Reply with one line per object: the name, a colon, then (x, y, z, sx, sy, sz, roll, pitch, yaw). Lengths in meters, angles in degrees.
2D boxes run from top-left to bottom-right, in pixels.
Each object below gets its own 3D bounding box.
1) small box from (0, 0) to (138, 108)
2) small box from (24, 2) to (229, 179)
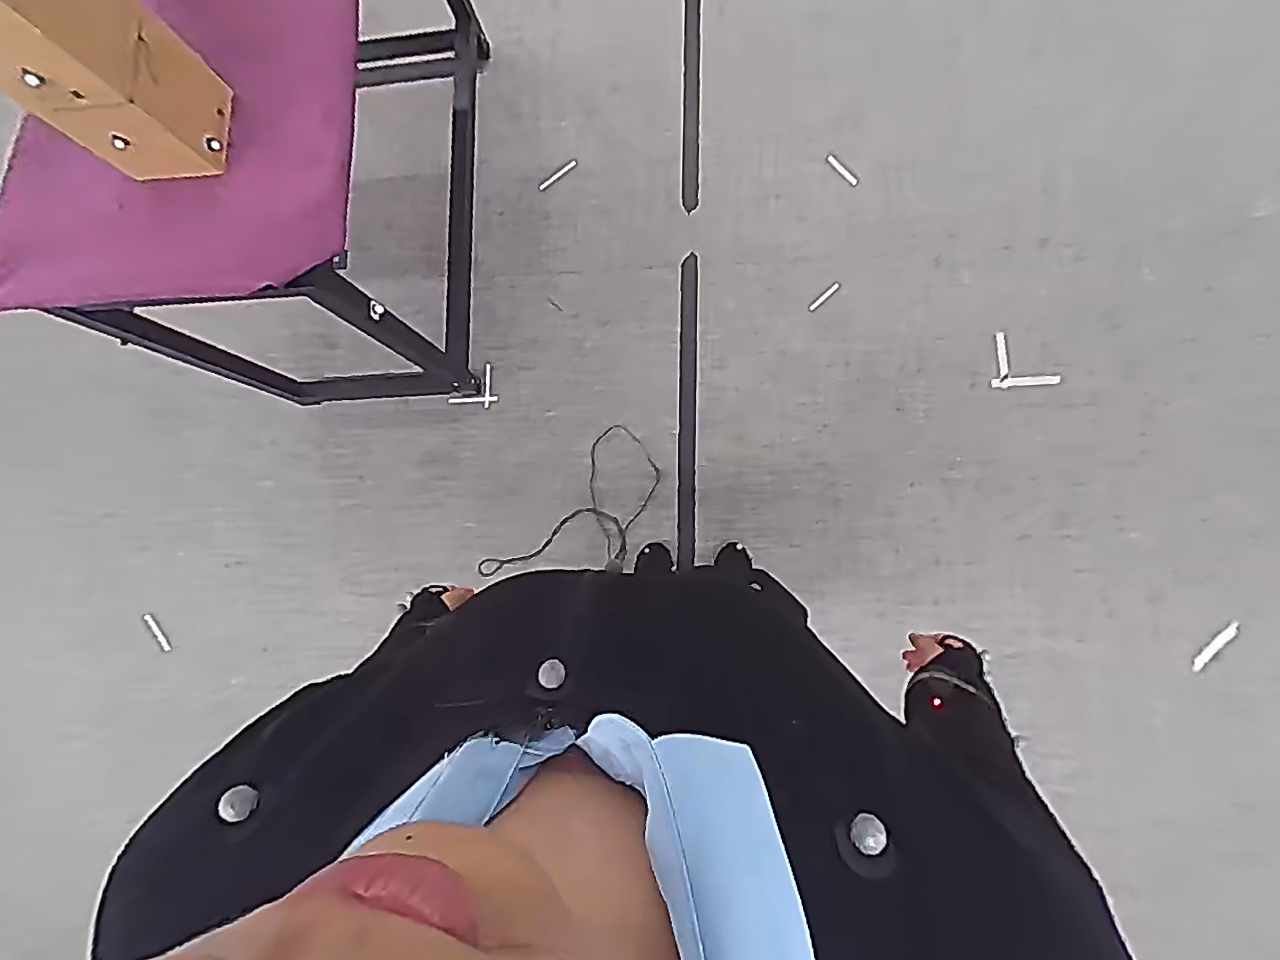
small box: (-0.830, -0.643, 0.722, 0.168, 0.176, 0.179, -1, 82, 6)
small box: (-0.824, -0.624, 0.886, 0.179, 0.176, 0.168, 0, 82, 6)
